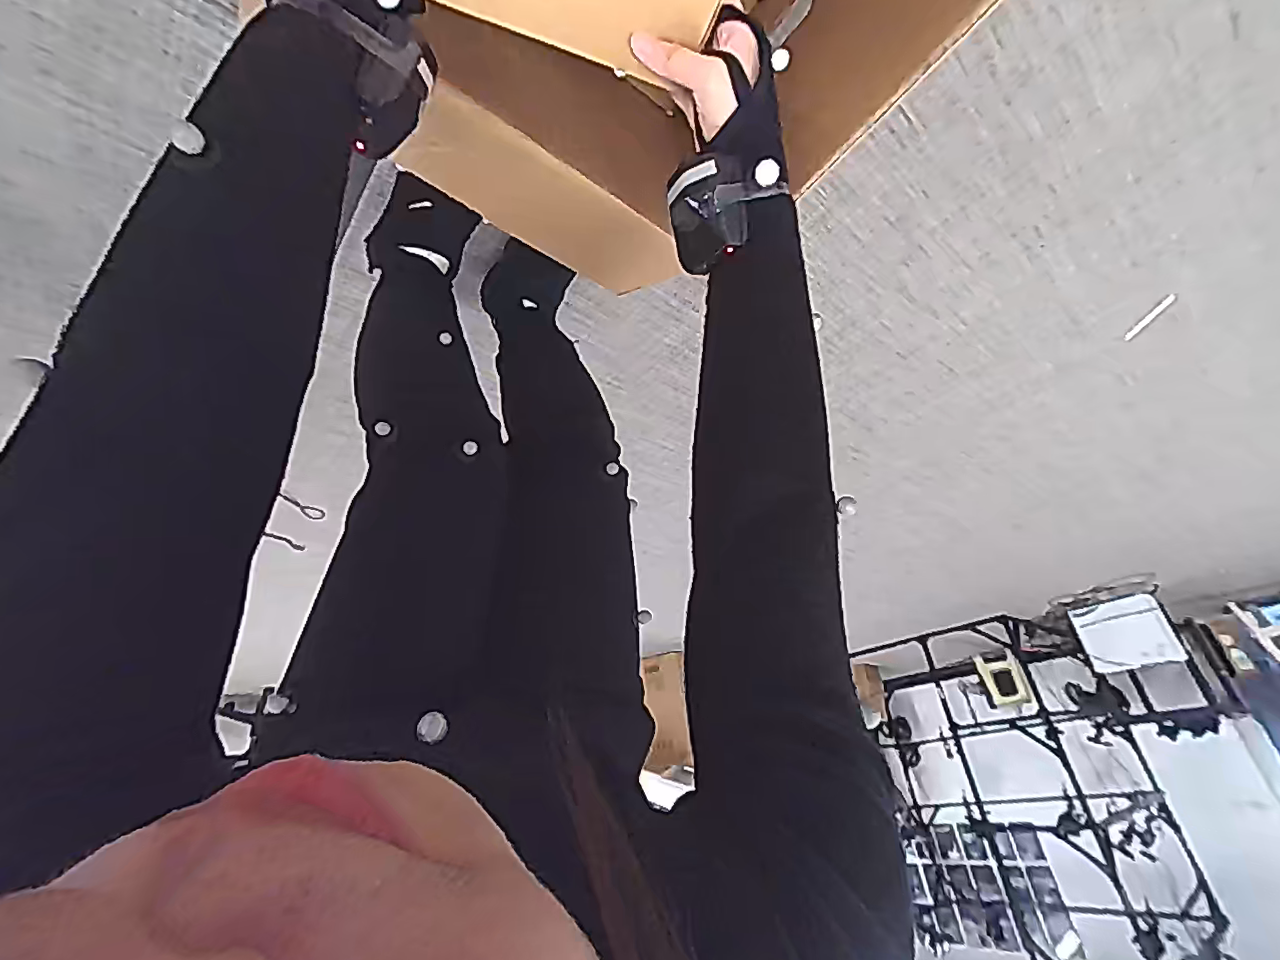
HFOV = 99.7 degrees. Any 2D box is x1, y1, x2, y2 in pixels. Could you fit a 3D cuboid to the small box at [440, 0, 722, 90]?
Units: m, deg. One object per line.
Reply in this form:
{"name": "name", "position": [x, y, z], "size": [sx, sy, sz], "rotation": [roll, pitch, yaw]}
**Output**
{"name": "small box", "position": [-0.030, -0.383, 0.314], "size": [0.179, 0.176, 0.168], "rotation": [2, 152, -23]}
